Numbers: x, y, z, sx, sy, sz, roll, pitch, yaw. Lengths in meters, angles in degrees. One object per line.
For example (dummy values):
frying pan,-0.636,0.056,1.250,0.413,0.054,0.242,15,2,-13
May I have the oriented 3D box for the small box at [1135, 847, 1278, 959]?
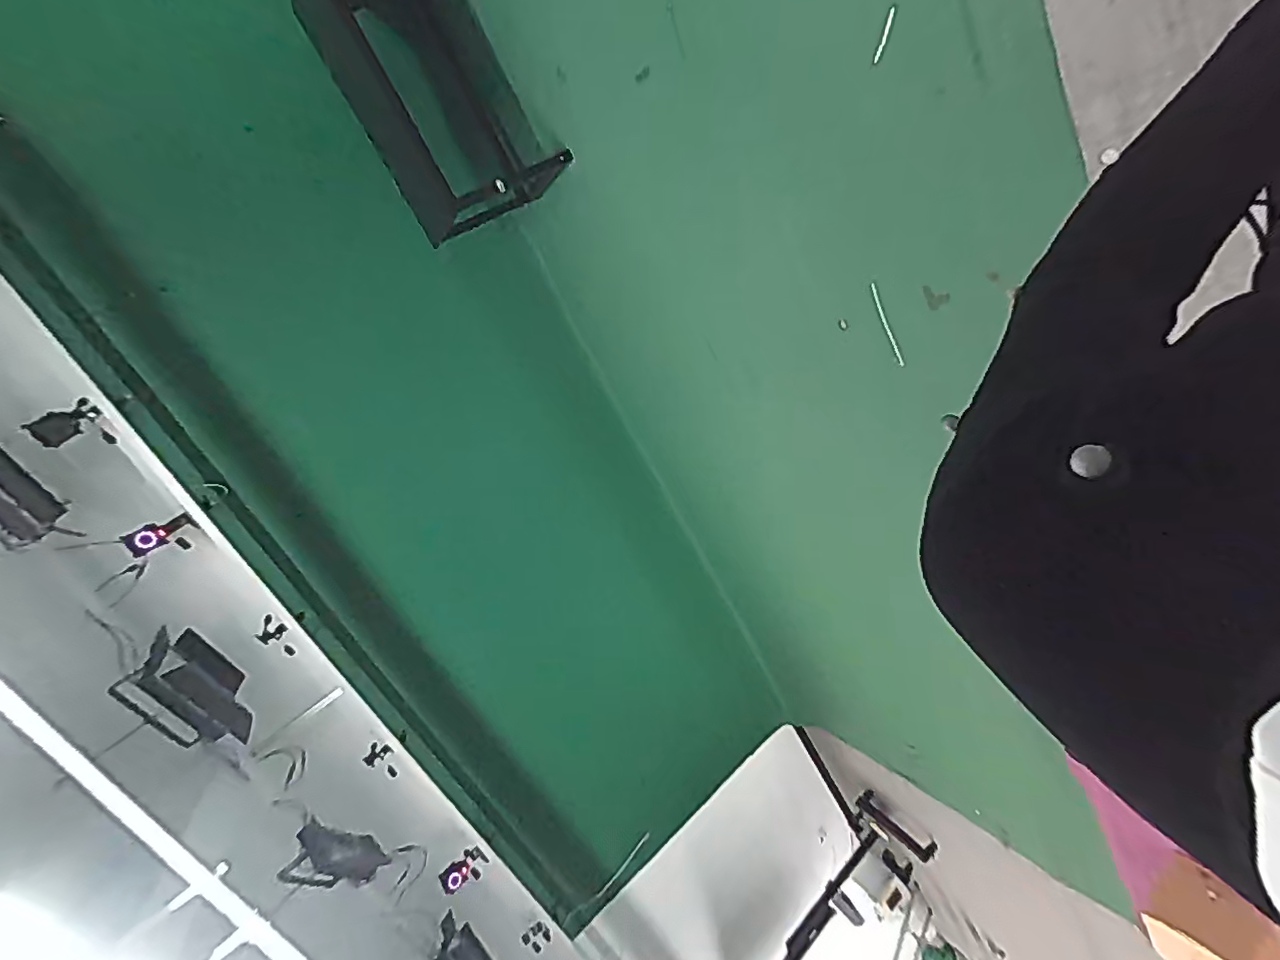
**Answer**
small box,1.221,0.955,1.164,0.179,0.176,0.168,60,158,-18
